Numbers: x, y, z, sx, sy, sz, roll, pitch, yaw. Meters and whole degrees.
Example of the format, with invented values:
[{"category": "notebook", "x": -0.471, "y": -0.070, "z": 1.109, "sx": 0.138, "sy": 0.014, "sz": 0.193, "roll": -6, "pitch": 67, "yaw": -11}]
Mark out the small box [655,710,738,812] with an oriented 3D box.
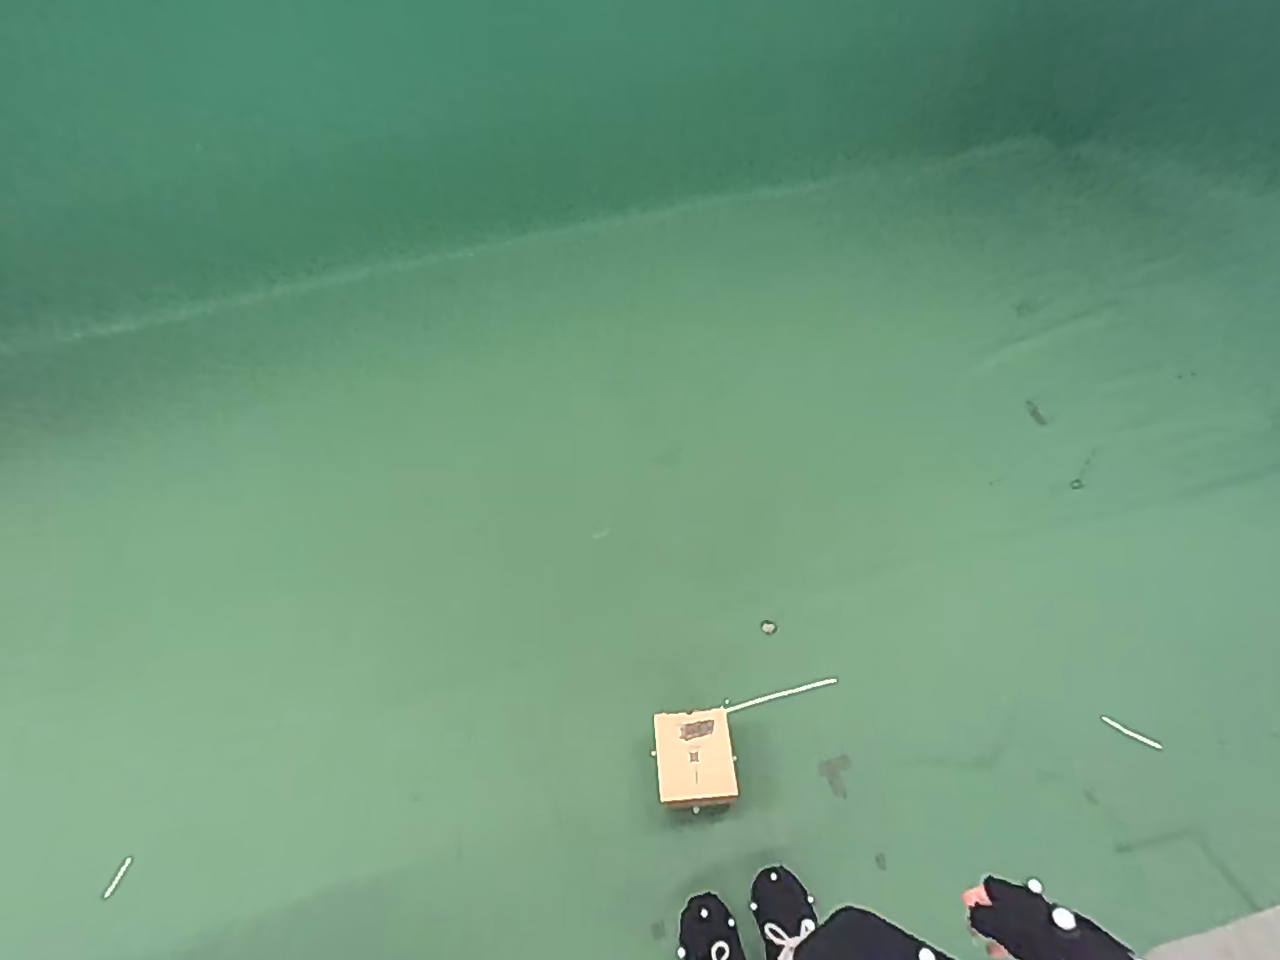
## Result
[{"category": "small box", "x": 0.122, "y": 0.641, "z": 1.230, "sx": 0.168, "sy": 0.176, "sz": 0.179, "roll": -6, "pitch": 54, "yaw": 1}]
